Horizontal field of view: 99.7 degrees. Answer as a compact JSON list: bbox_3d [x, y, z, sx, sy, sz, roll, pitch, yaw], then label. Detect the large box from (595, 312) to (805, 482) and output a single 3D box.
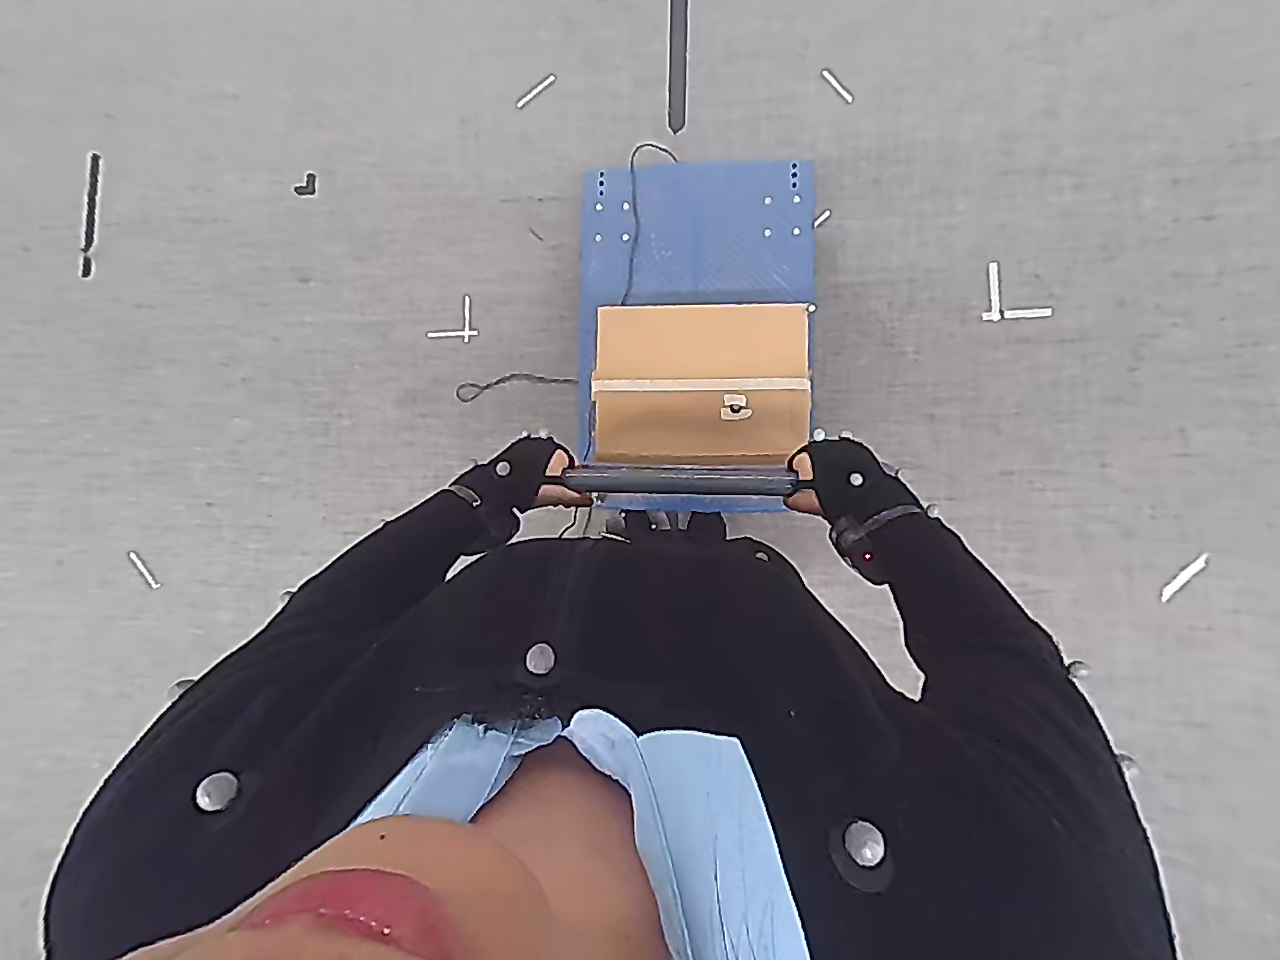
[{"bbox_3d":[0.121,-0.159,1.181,0.408,0.320,0.320,1,88,4],"label":"large box"}]
